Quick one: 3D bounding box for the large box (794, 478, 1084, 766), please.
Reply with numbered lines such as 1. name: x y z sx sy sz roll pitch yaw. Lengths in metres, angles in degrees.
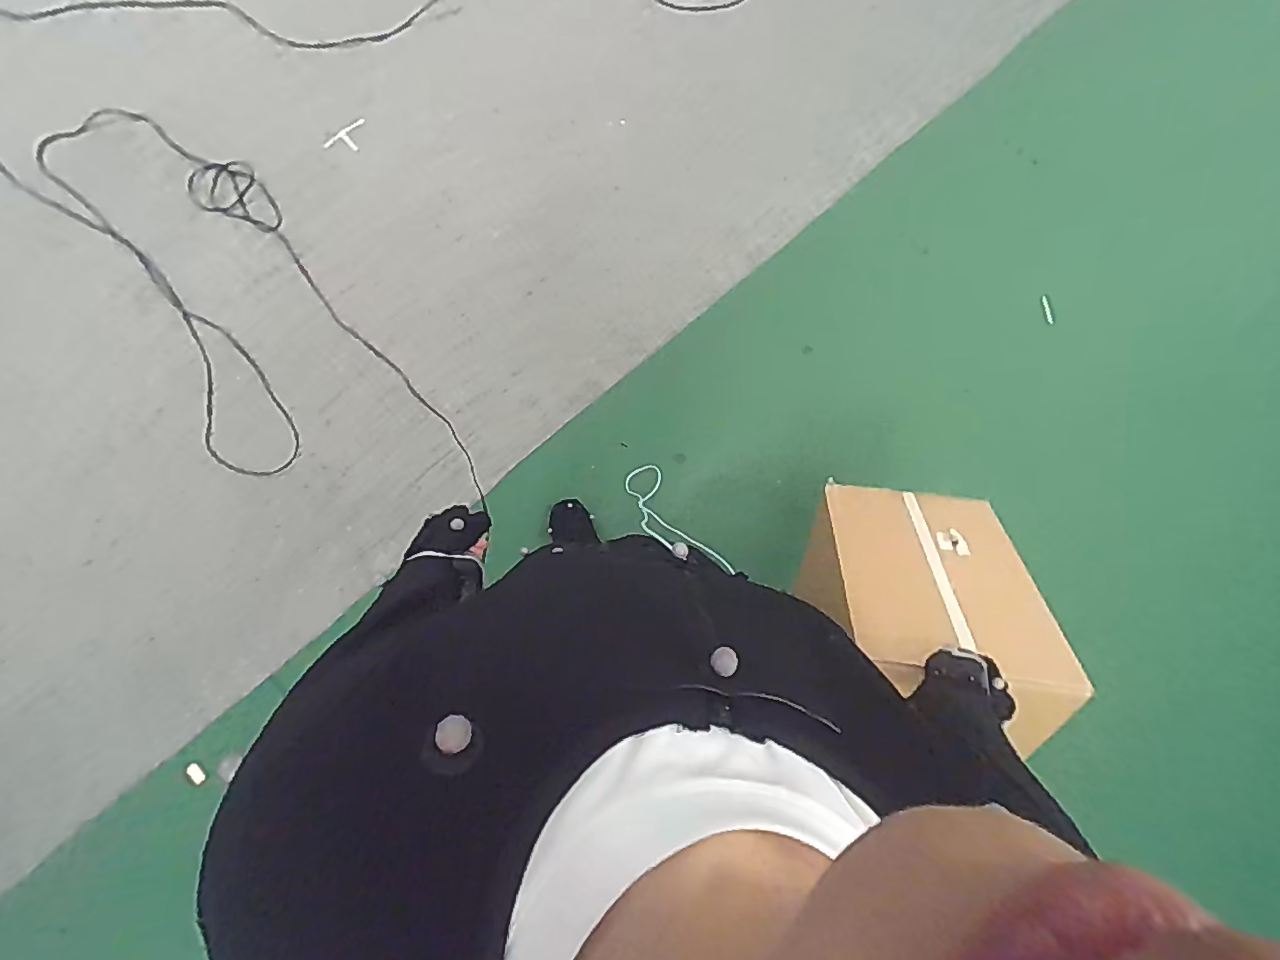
1. large box: 0.484 0.248 1.001 0.320 0.408 0.320 6 128 5
